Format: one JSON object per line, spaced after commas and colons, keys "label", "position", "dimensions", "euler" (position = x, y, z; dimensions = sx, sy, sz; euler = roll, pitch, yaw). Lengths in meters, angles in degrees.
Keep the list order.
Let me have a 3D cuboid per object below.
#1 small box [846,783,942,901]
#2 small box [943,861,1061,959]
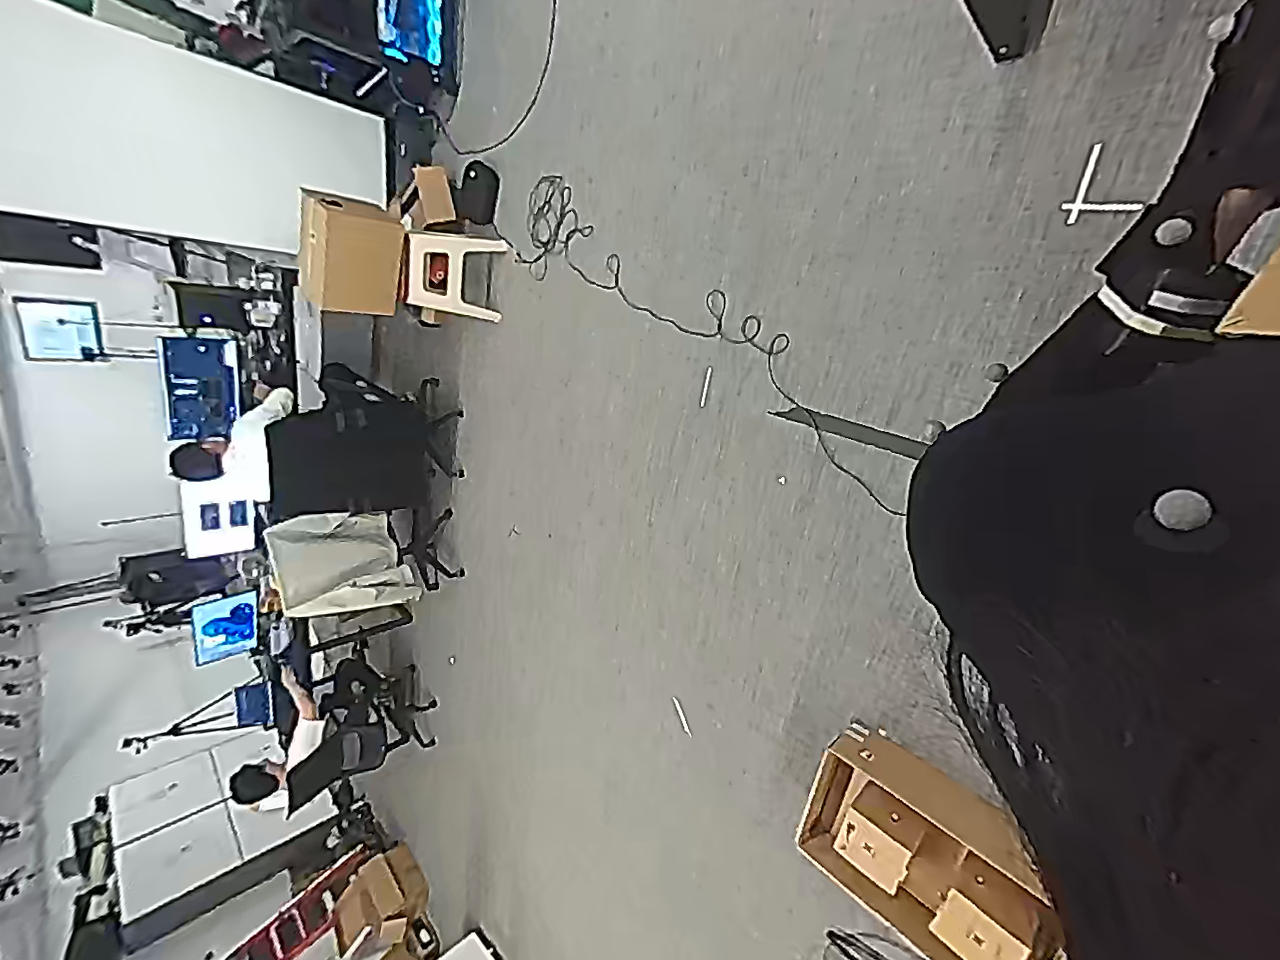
{"label": "small box", "position": [0.710, 0.992, 1.502], "dimensions": [0.179, 0.176, 0.168], "euler": [25, 113, 38]}
{"label": "small box", "position": [0.893, 1.091, 1.334], "dimensions": [0.179, 0.176, 0.168], "euler": [28, 117, 39]}
